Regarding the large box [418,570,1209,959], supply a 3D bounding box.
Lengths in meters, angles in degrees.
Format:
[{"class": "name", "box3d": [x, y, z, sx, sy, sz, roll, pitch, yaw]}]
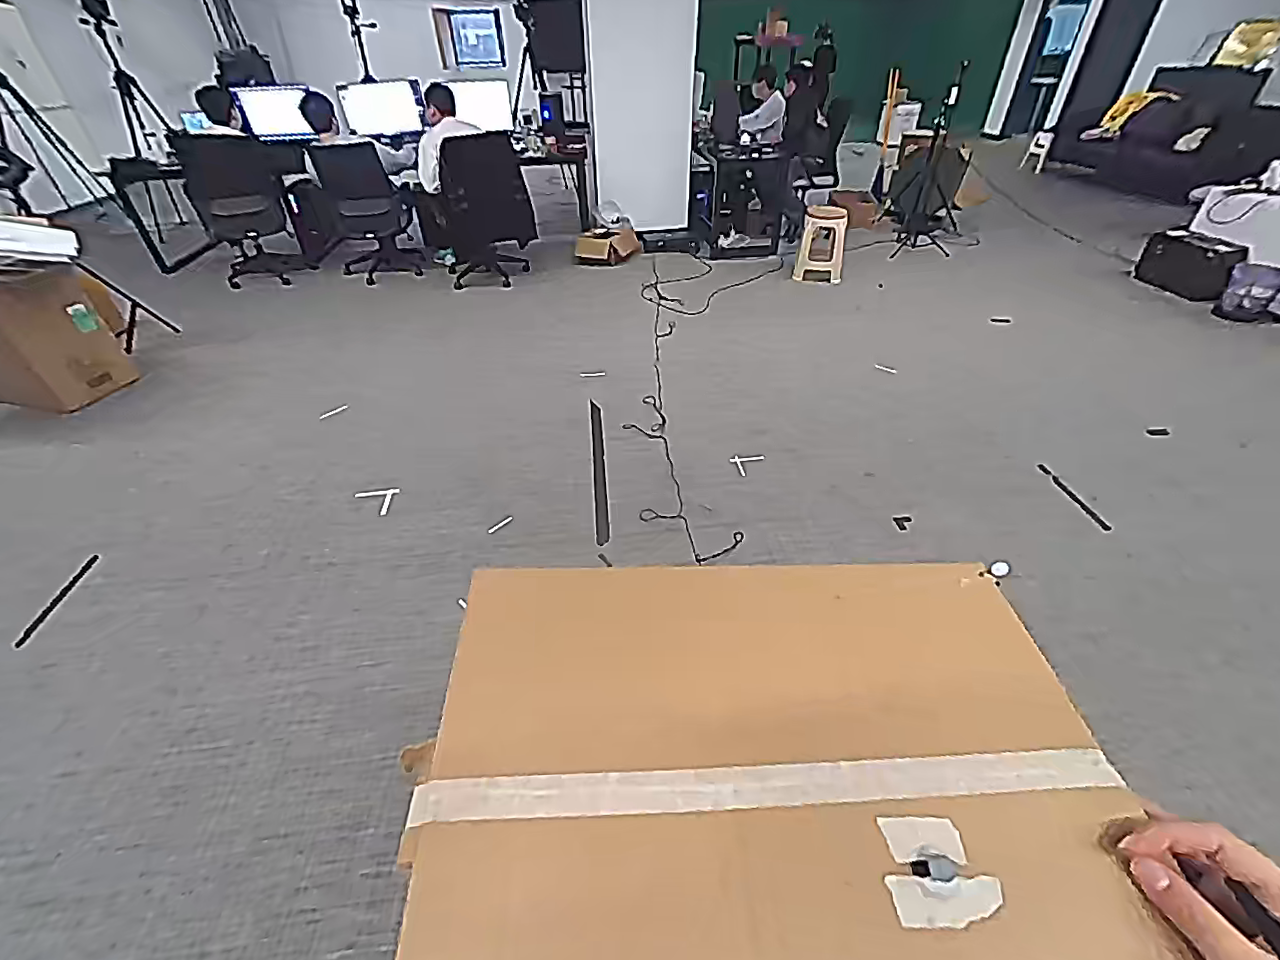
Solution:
[{"class": "large box", "box3d": [0.074, 0.288, 0.425, 0.408, 0.320, 0.320, 1, 45, -5]}]
